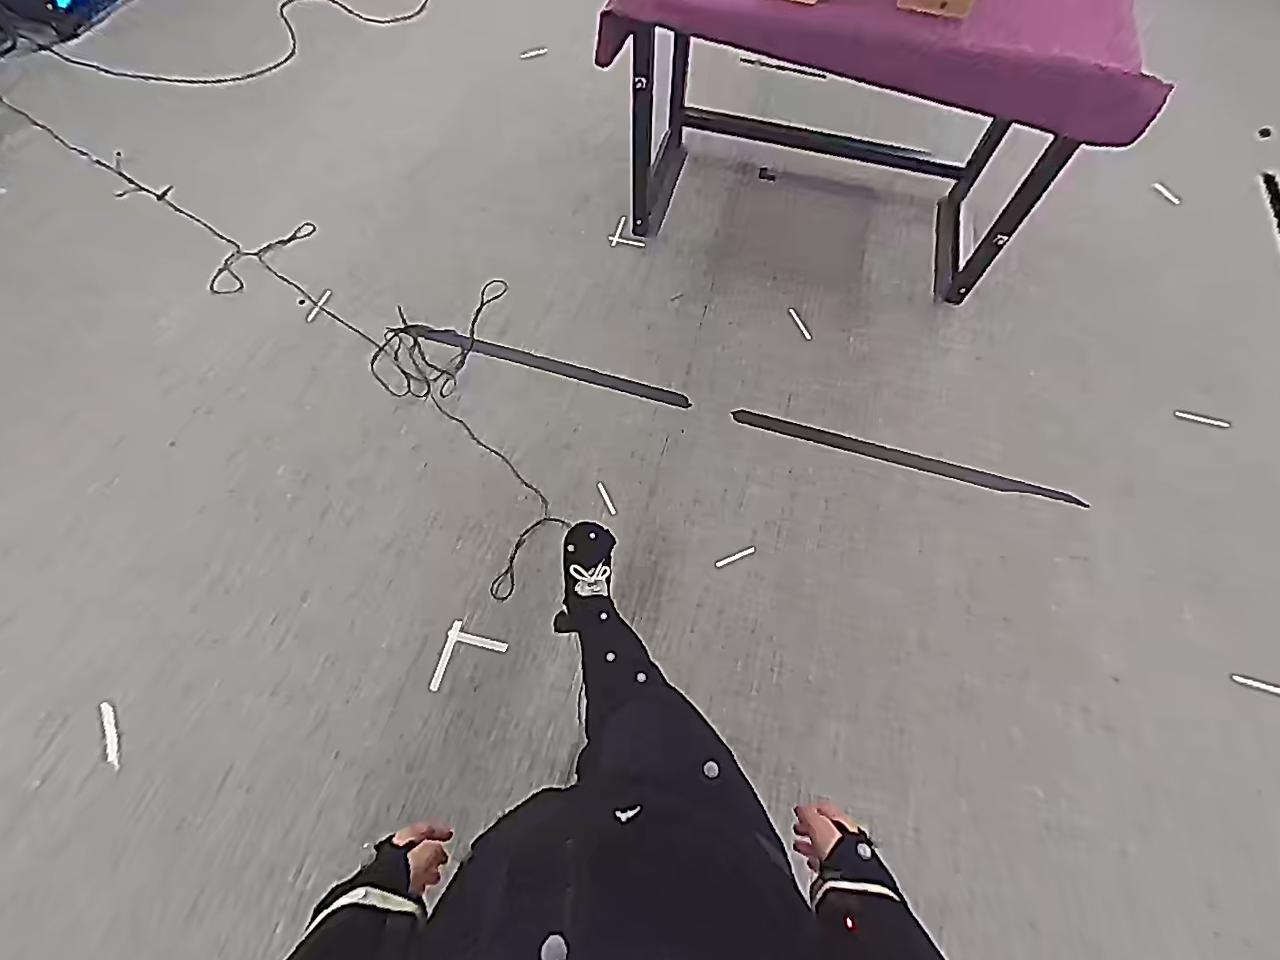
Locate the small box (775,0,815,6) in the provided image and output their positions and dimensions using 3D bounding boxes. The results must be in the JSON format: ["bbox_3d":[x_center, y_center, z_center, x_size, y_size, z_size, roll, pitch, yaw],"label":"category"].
[{"bbox_3d":[0.369,-1.275,1.286,0.168,0.176,0.179,16,65,6],"label":"small box"}]

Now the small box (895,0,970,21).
[{"bbox_3d":[0.721,-1.225,1.268,0.168,0.176,0.179,18,66,7],"label":"small box"}]
